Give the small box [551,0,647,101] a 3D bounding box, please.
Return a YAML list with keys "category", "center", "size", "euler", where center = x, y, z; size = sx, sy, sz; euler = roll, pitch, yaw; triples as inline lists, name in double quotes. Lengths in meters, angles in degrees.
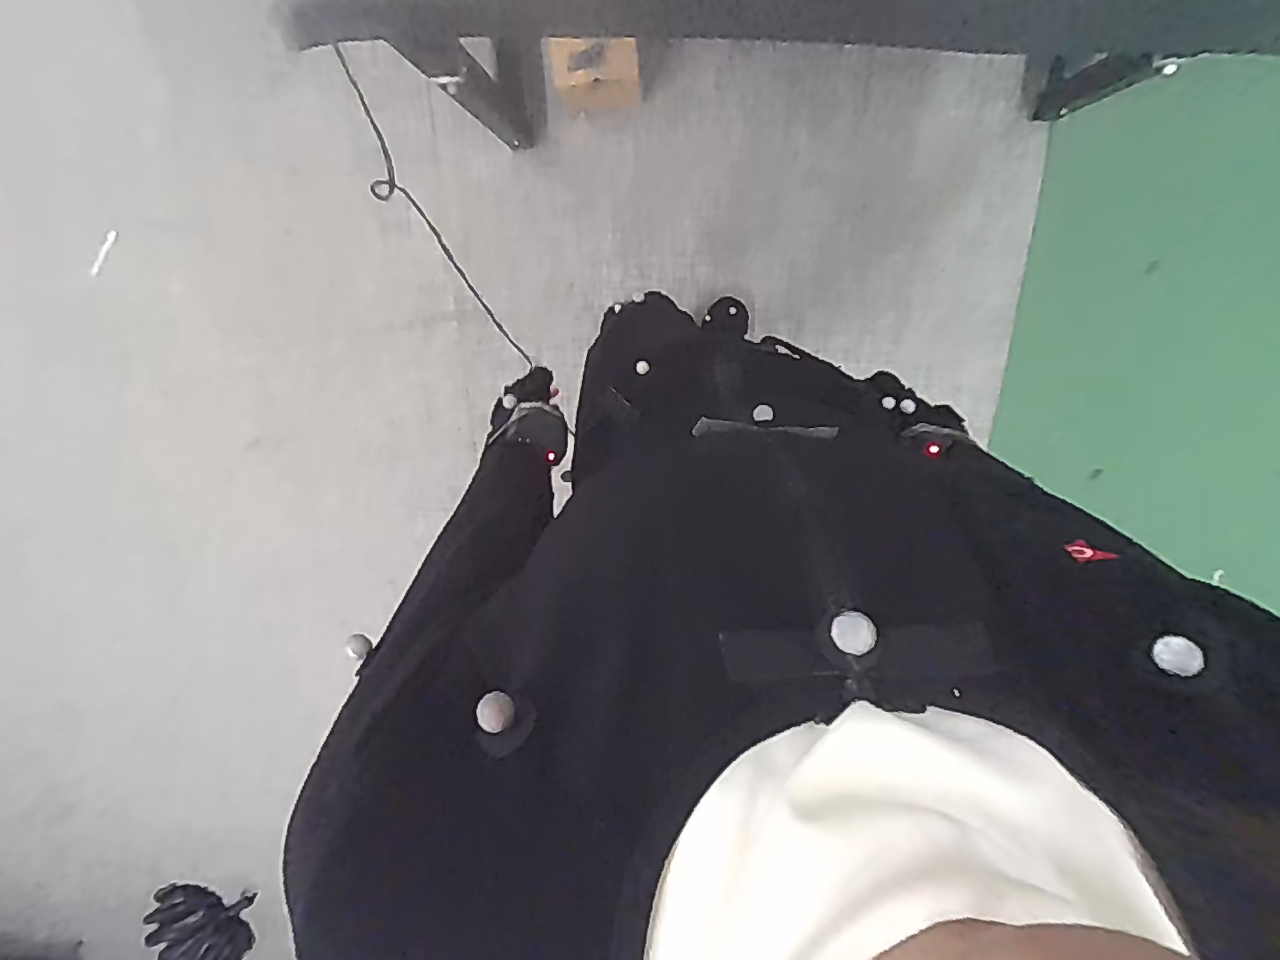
- category: "small box"
  center: [-0.077, -0.883, 1.080]
  size: [0.168, 0.176, 0.179]
  euler: [-4, 109, 4]
